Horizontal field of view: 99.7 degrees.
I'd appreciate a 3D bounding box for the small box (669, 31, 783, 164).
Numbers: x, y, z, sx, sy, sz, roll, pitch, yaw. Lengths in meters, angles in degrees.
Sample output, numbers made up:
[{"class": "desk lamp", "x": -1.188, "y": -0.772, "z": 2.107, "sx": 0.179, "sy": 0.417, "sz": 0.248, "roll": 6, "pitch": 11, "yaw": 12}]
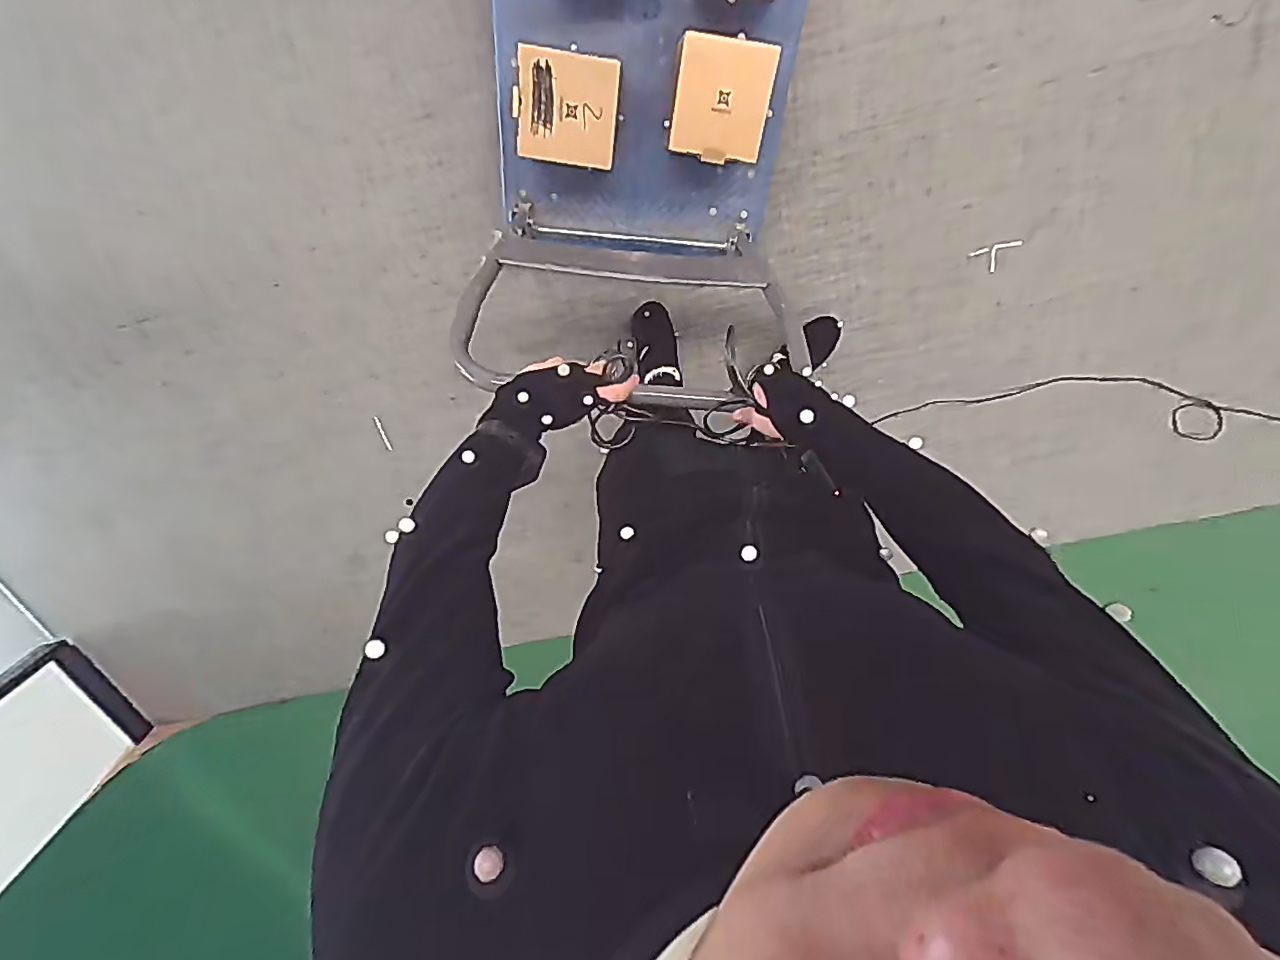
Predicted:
[{"class": "small box", "x": 0.148, "y": -0.709, "z": 1.010, "sx": 0.168, "sy": 0.176, "sz": 0.179, "roll": 6, "pitch": 126, "yaw": -4}]
